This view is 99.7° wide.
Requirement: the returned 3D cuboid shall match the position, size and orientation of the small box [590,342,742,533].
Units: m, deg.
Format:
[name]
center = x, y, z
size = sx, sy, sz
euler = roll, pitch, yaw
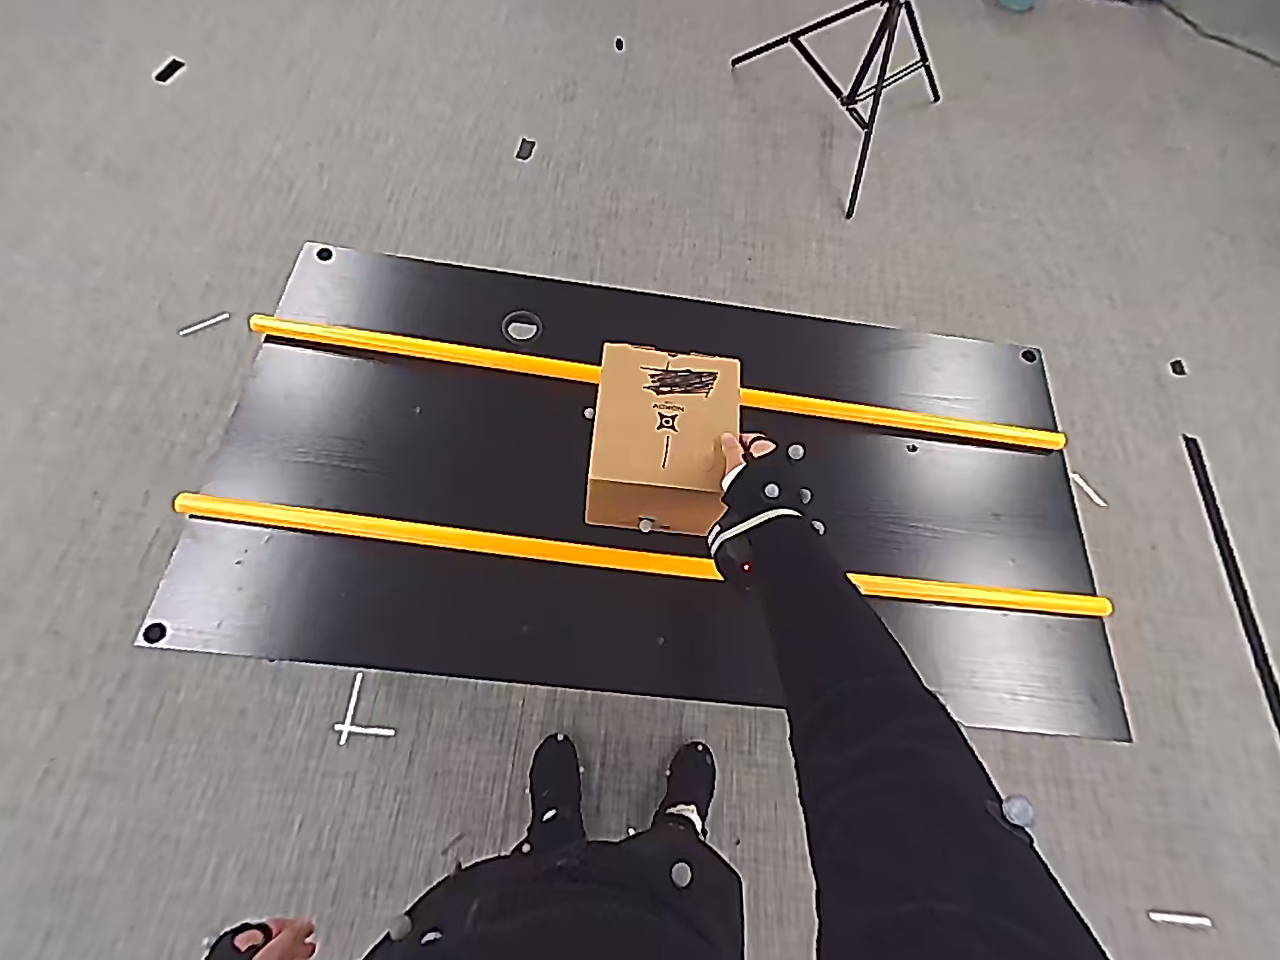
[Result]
[small box]
center = 0.027, -0.045, 0.687
size = 0.168, 0.176, 0.179
euler = 6, 69, -3
